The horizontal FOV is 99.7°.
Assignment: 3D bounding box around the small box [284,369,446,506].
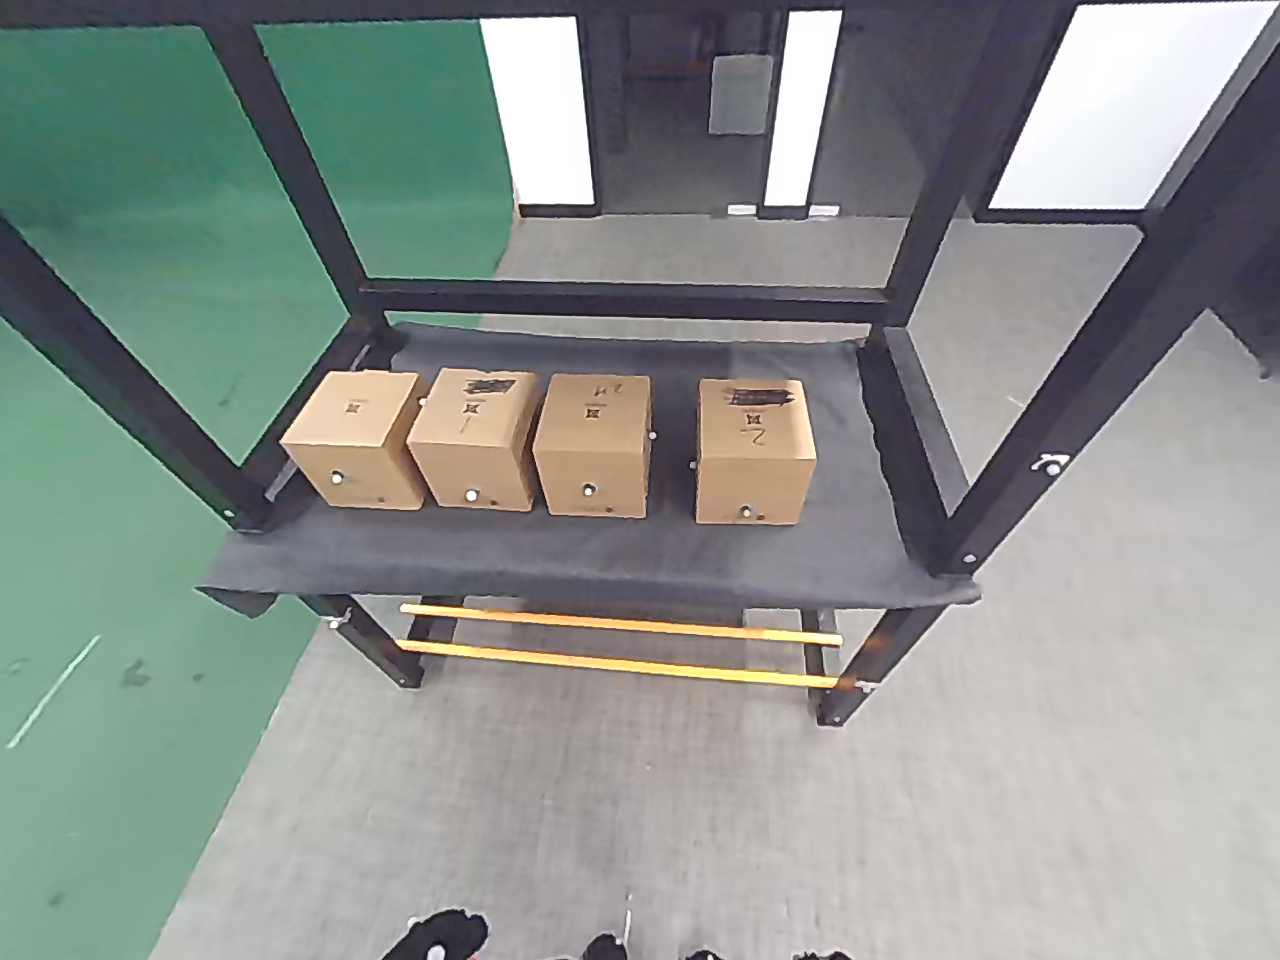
[{"bbox_3d":[-0.457,-0.070,0.935,0.168,0.176,0.179,3,50,4],"label":"small box"}]
